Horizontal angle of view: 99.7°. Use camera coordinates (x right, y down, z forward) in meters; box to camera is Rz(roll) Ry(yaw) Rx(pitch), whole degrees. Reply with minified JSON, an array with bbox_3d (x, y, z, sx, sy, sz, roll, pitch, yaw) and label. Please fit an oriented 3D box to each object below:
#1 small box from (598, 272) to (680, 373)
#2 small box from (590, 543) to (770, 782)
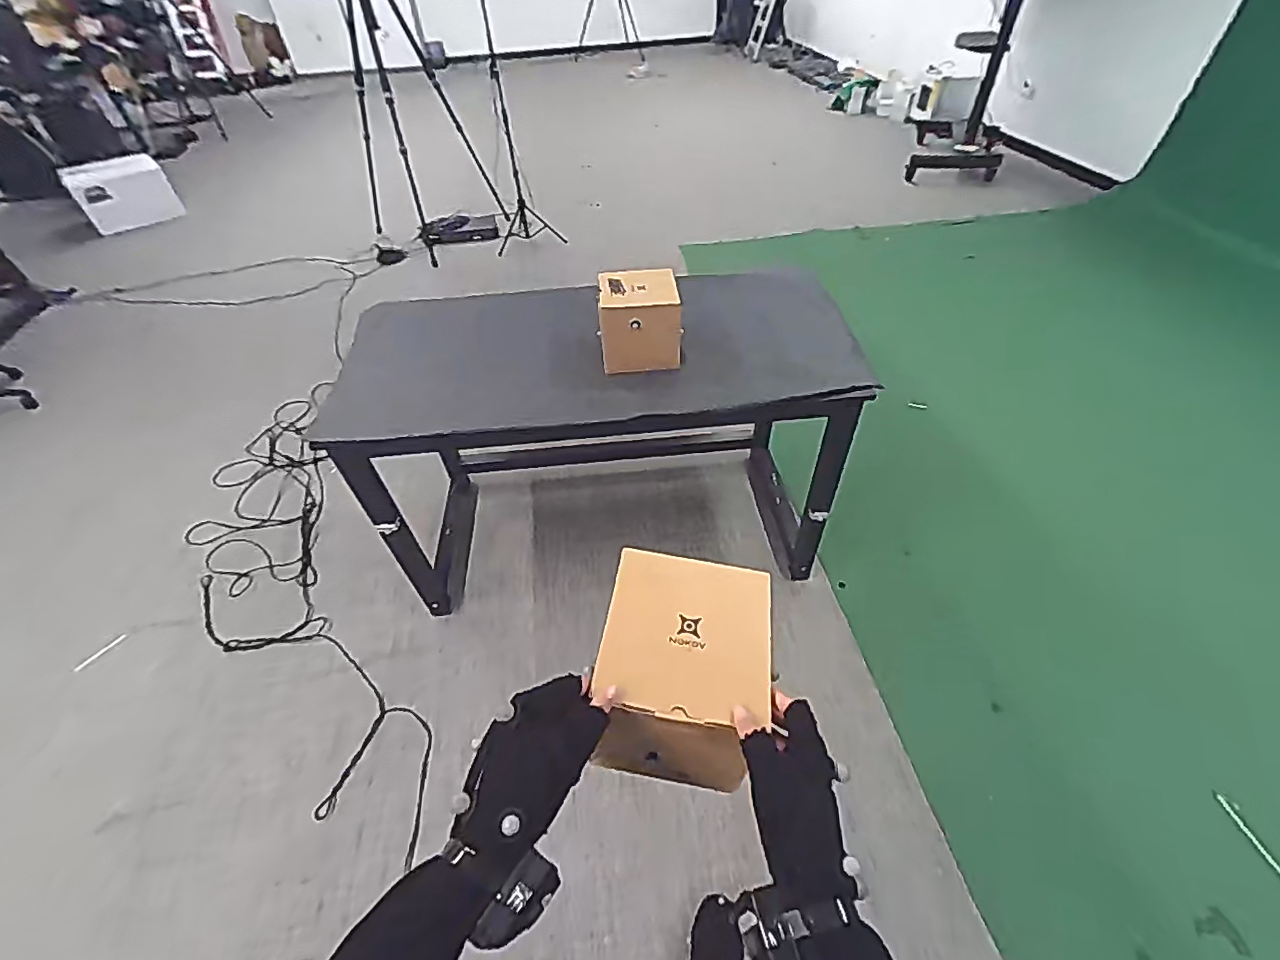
[{"bbox_3d":[-0.002,-0.362,1.255,0.179,0.176,0.168,-4,46,-2],"label":"small box"},{"bbox_3d":[0.041,0.200,0.594,0.168,0.176,0.179,10,45,3],"label":"small box"}]
